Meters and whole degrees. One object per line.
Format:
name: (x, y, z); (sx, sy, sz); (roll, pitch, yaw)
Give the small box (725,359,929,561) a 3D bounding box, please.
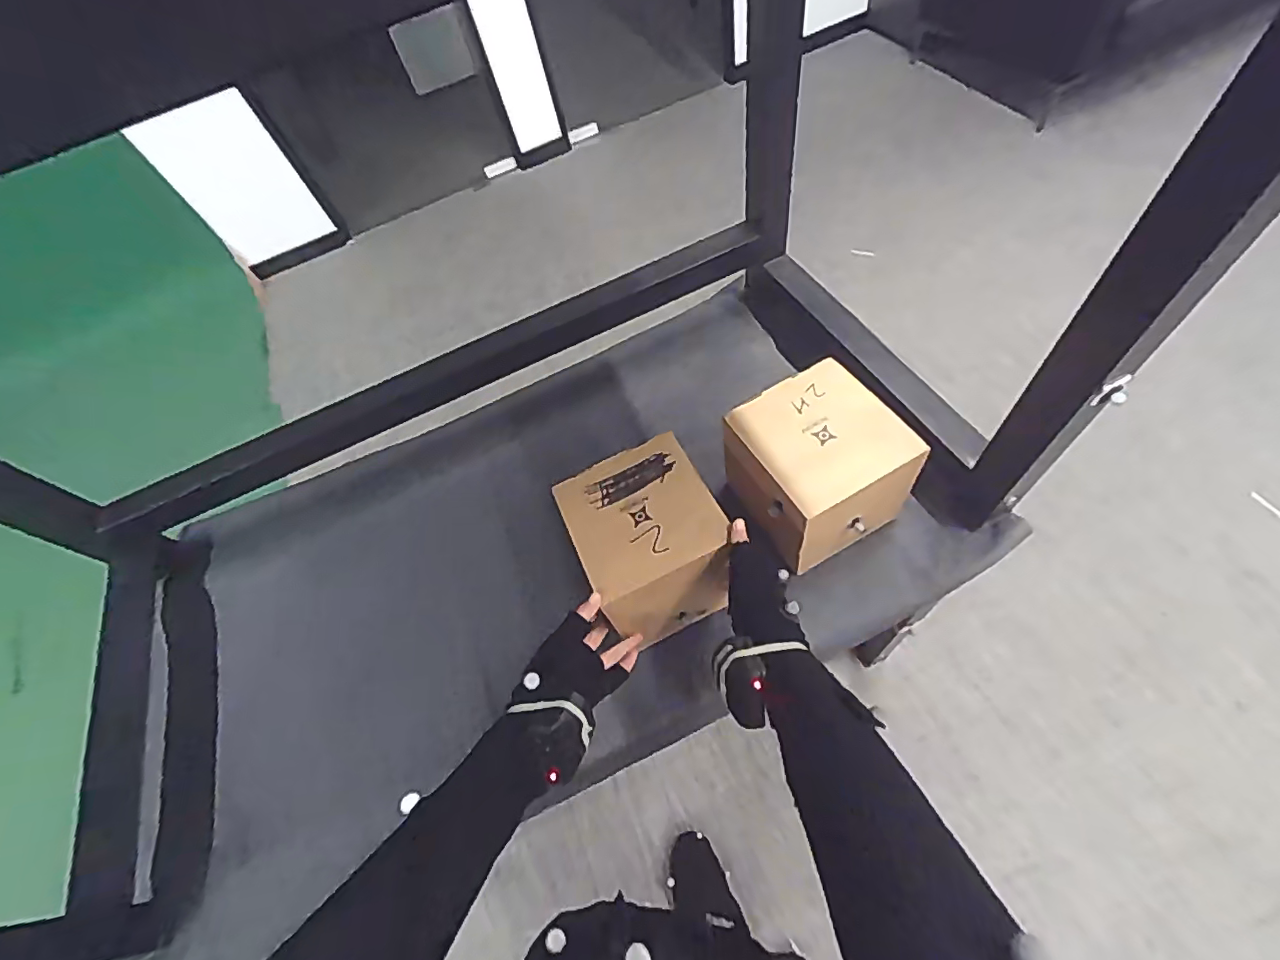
small box: (0.228, -0.015, 0.702); (0.168, 0.176, 0.179); (-29, 58, -6)
